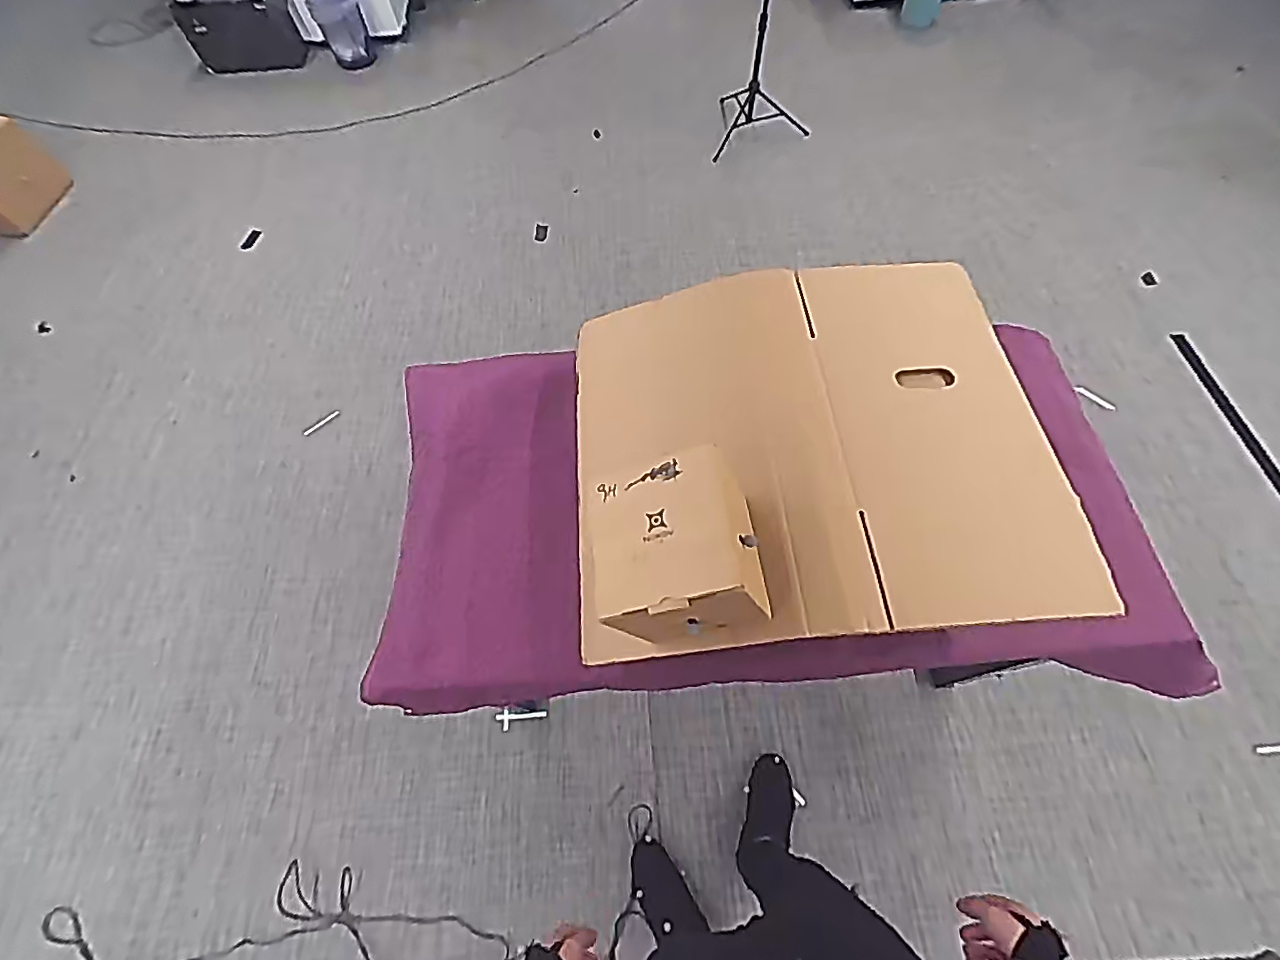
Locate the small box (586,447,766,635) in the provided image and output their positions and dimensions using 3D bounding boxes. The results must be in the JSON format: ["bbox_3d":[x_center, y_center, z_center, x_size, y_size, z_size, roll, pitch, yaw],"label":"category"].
[{"bbox_3d":[0.048,0.088,0.668,0.168,0.176,0.179,-16,62,16],"label":"small box"}]
